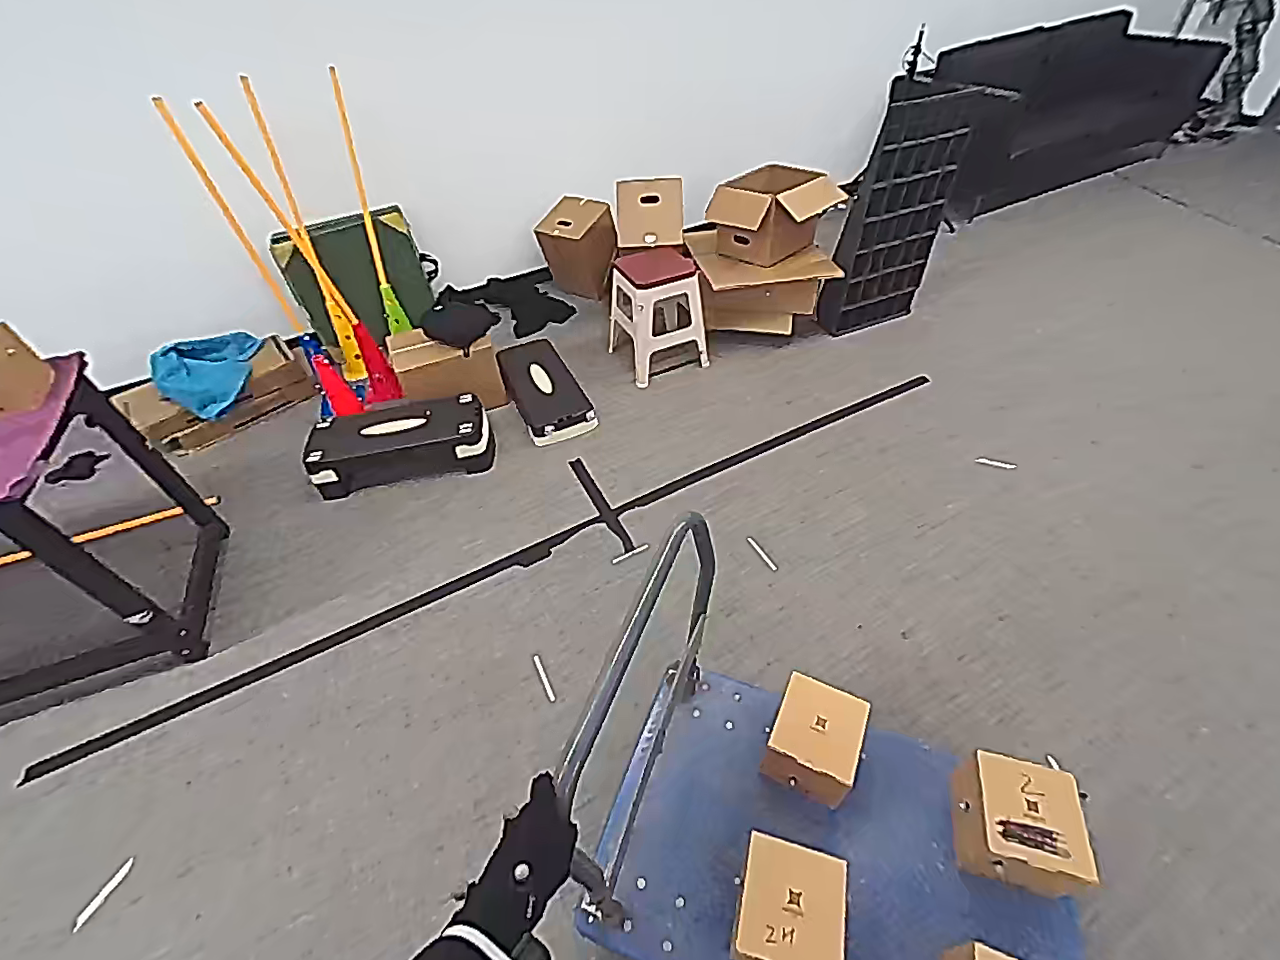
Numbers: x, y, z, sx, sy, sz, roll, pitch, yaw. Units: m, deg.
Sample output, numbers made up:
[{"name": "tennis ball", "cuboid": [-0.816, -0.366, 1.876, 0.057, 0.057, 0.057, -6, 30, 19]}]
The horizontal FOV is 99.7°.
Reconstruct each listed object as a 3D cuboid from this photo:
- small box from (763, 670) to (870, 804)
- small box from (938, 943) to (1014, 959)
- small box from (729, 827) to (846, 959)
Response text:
[{"name": "small box", "cuboid": [0.370, 0.548, 1.152, 0.168, 0.176, 0.179, 19, 51, 21]}, {"name": "small box", "cuboid": [0.578, 0.860, 0.833, 0.179, 0.176, 0.168, 15, 49, 19]}, {"name": "small box", "cuboid": [0.257, 0.757, 0.957, 0.168, 0.176, 0.179, 11, 48, 14]}]
